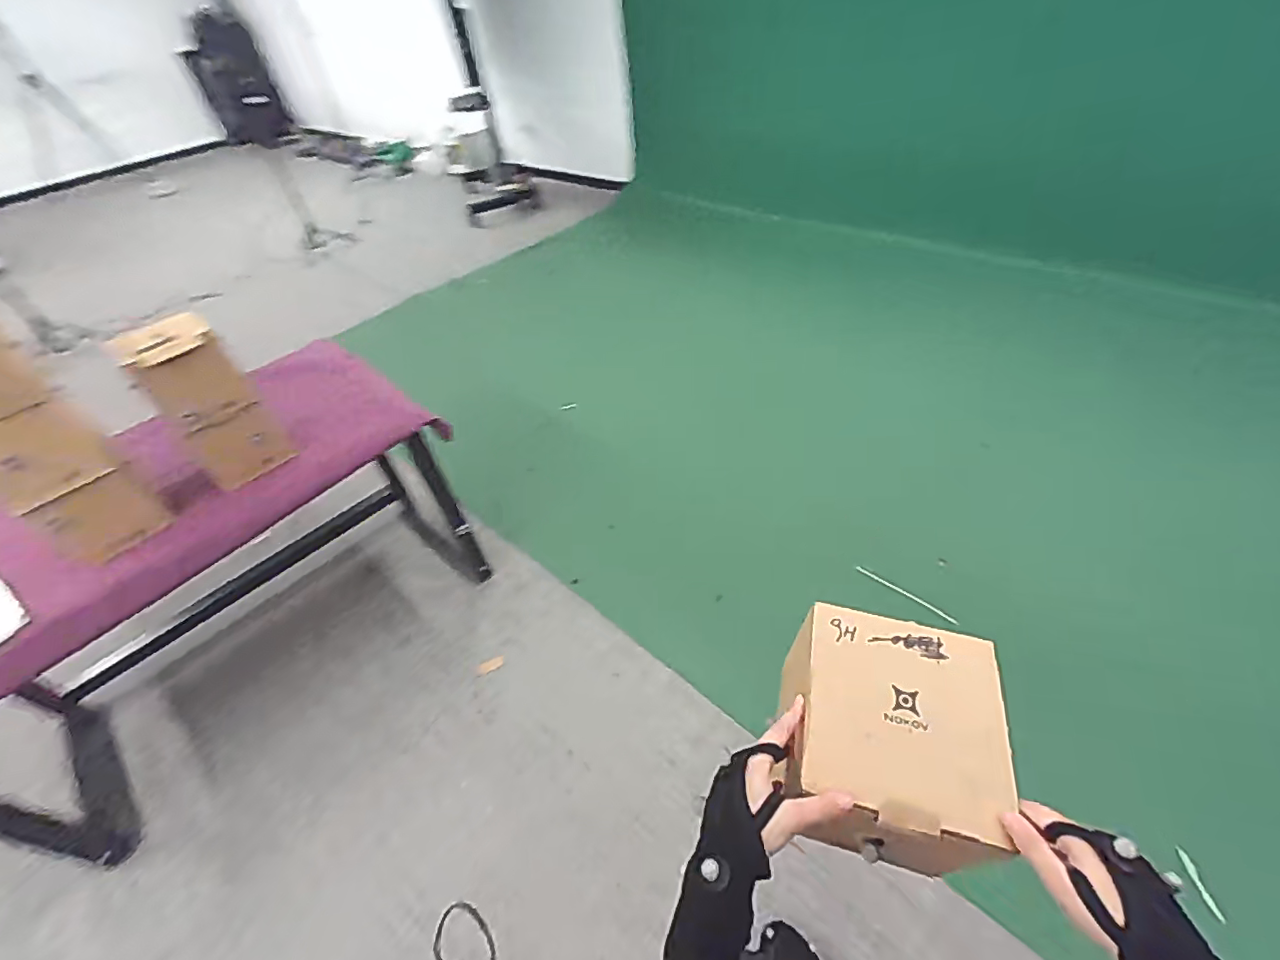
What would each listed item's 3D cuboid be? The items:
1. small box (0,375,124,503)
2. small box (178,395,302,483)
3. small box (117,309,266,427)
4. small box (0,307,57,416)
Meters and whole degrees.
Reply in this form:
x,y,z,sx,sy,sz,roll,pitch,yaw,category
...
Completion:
x,y,z,sx,sy,sz,roll,pitch,yaw,category
-1.132,-0.081,1.019,0.179,0.176,0.168,31,57,35,small box
-0.931,-0.117,1.262,0.179,0.176,0.168,31,56,35,small box
-0.943,-0.235,1.148,0.179,0.176,0.168,30,55,34,small box
-1.140,-0.201,0.905,0.179,0.176,0.168,-36,49,-25,small box
